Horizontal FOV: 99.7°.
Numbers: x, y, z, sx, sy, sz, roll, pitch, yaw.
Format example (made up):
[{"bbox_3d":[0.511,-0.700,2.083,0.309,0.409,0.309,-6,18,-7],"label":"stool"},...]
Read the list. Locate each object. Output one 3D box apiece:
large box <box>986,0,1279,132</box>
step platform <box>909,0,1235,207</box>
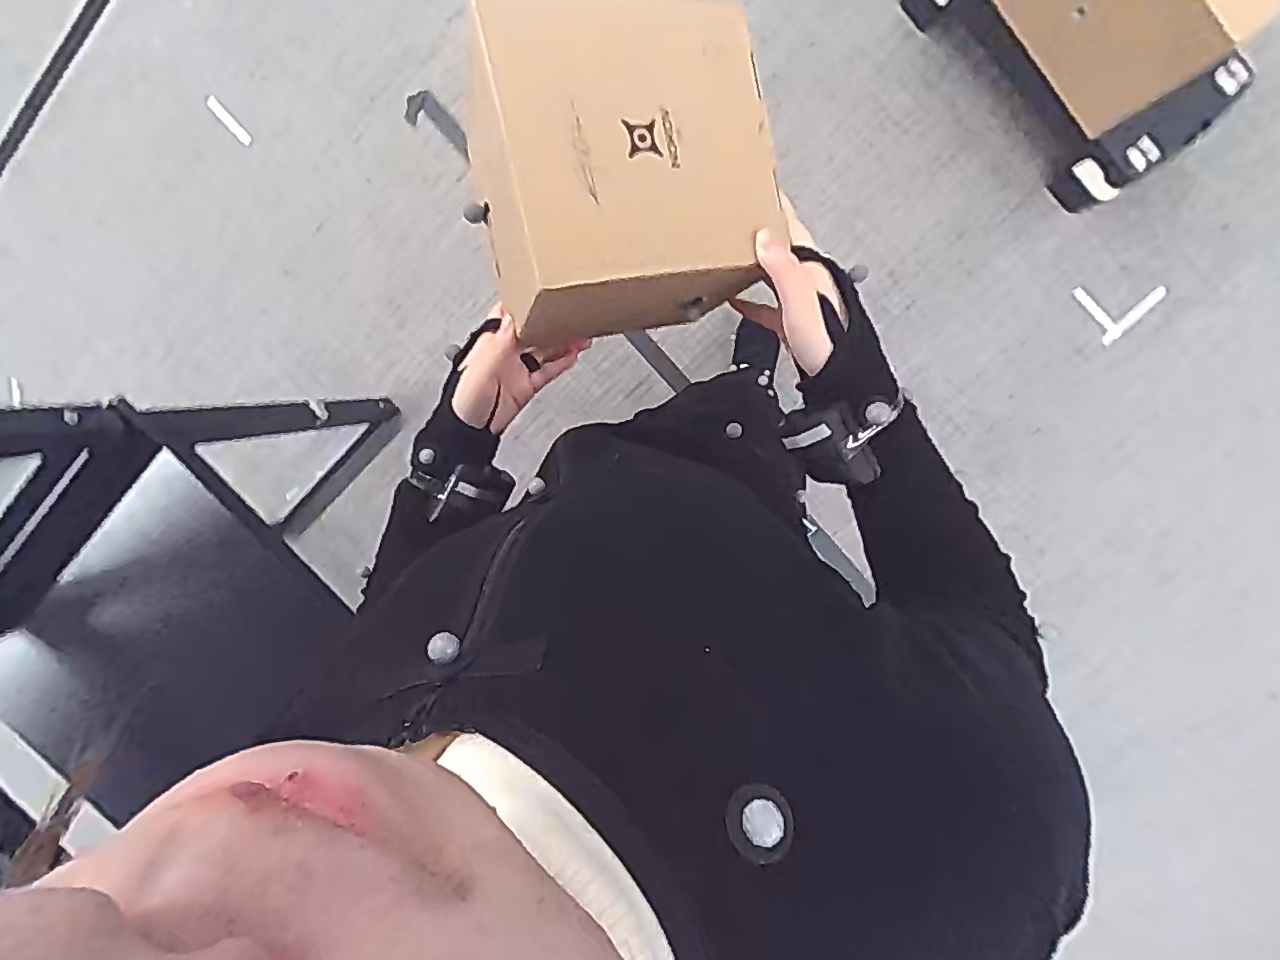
[{"bbox_3d":[0.879,-0.911,0.905,0.320,0.320,0.408,-40,92,10],"label":"large box"},{"bbox_3d":[0.882,-0.957,1.140,0.286,0.204,0.684,-37,93,10],"label":"step platform"}]
